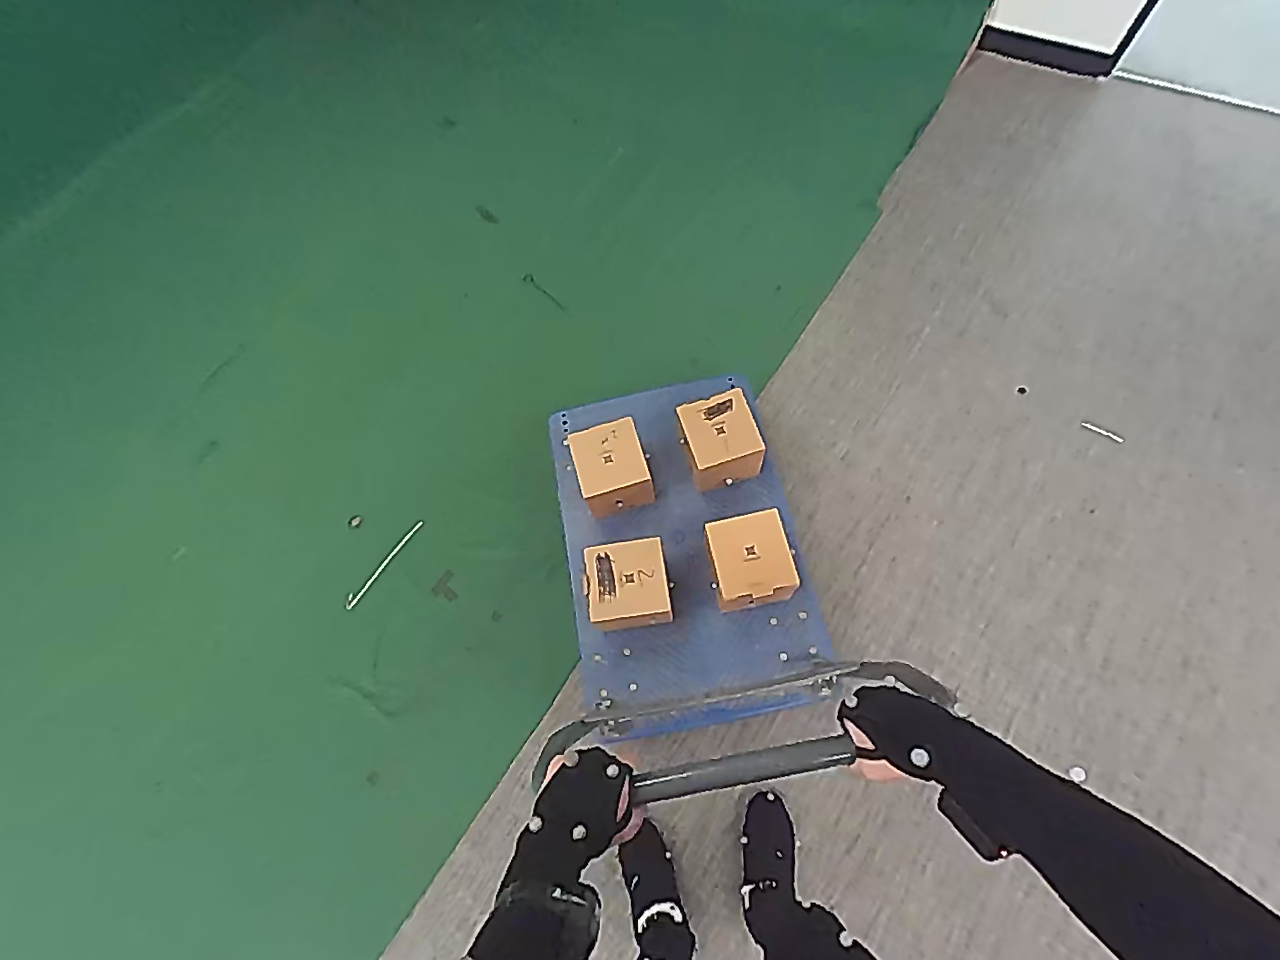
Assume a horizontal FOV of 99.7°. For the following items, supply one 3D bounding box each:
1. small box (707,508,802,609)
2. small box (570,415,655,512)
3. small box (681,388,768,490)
[{"bbox_3d":[0.250,0.184,1.235,0.168,0.176,0.179,-12,69,1],"label":"small box"},{"bbox_3d":[-0.063,-0.031,1.349,0.168,0.176,0.179,-16,68,-1],"label":"small box"},{"bbox_3d":[0.203,-0.097,1.348,0.168,0.176,0.179,-17,69,0],"label":"small box"}]
